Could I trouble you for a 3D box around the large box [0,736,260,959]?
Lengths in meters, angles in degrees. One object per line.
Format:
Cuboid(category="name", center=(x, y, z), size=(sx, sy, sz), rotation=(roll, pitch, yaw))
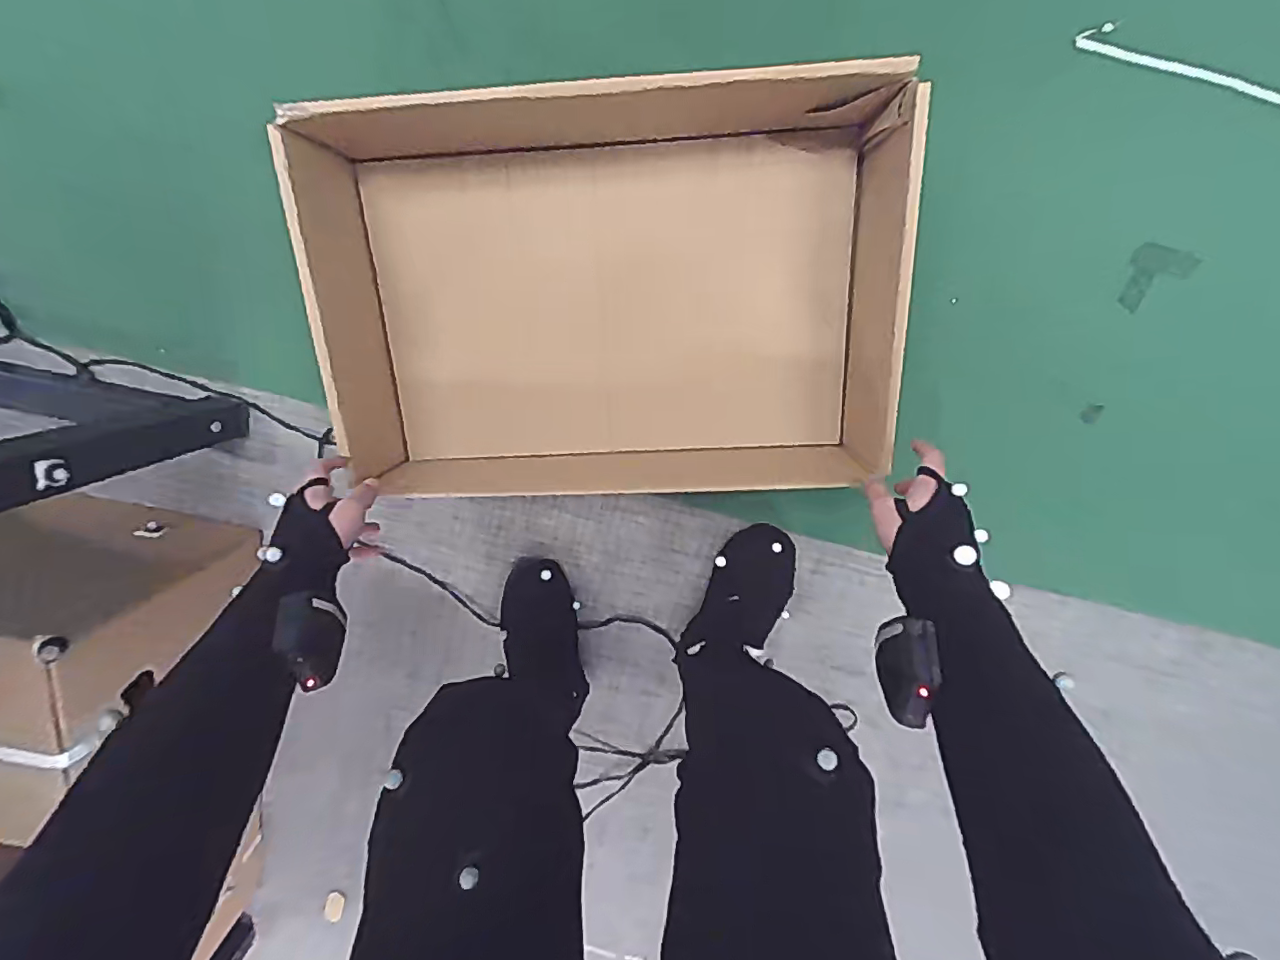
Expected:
Cuboid(category="large box", center=(-0.929, 0.690, 0.893), size=(0.408, 0.320, 0.320), rotation=(14, 107, 0))
